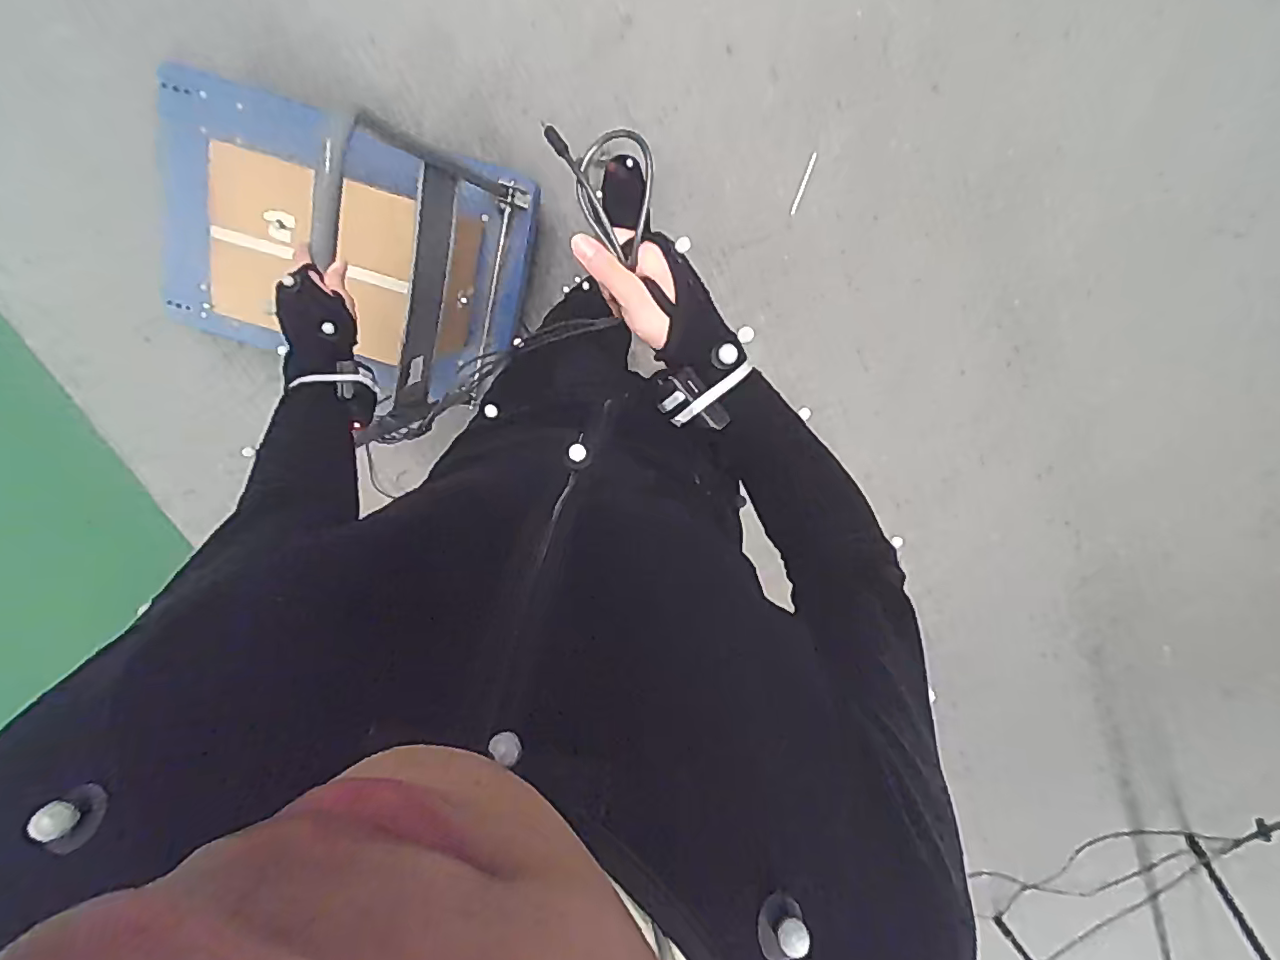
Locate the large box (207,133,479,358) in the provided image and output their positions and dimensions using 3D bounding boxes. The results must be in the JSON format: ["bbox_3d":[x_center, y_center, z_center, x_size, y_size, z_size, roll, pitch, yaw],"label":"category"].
[{"bbox_3d":[-0.603,-0.483,1.155,0.408,0.320,0.320,16,111,-2],"label":"large box"}]
